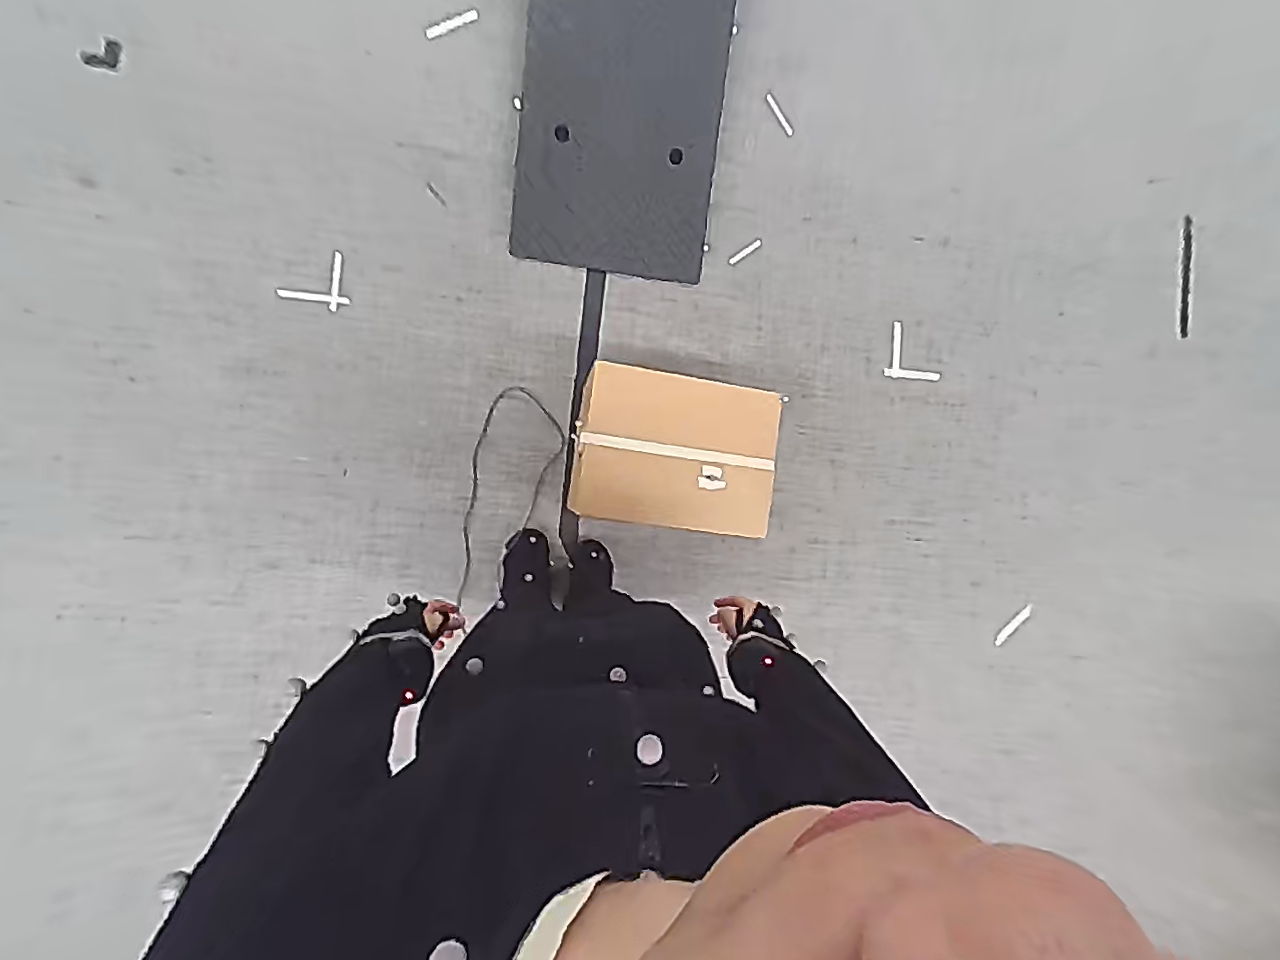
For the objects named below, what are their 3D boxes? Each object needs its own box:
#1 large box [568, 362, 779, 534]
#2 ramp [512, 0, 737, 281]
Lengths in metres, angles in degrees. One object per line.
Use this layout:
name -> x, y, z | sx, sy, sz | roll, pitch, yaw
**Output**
large box -> 0.056, -0.057, 1.250 | 0.408, 0.320, 0.320 | 8, 88, -11
ramp -> -0.020, -1.032, 1.310 | 0.509, 0.206, 0.991 | 4, 89, -11
